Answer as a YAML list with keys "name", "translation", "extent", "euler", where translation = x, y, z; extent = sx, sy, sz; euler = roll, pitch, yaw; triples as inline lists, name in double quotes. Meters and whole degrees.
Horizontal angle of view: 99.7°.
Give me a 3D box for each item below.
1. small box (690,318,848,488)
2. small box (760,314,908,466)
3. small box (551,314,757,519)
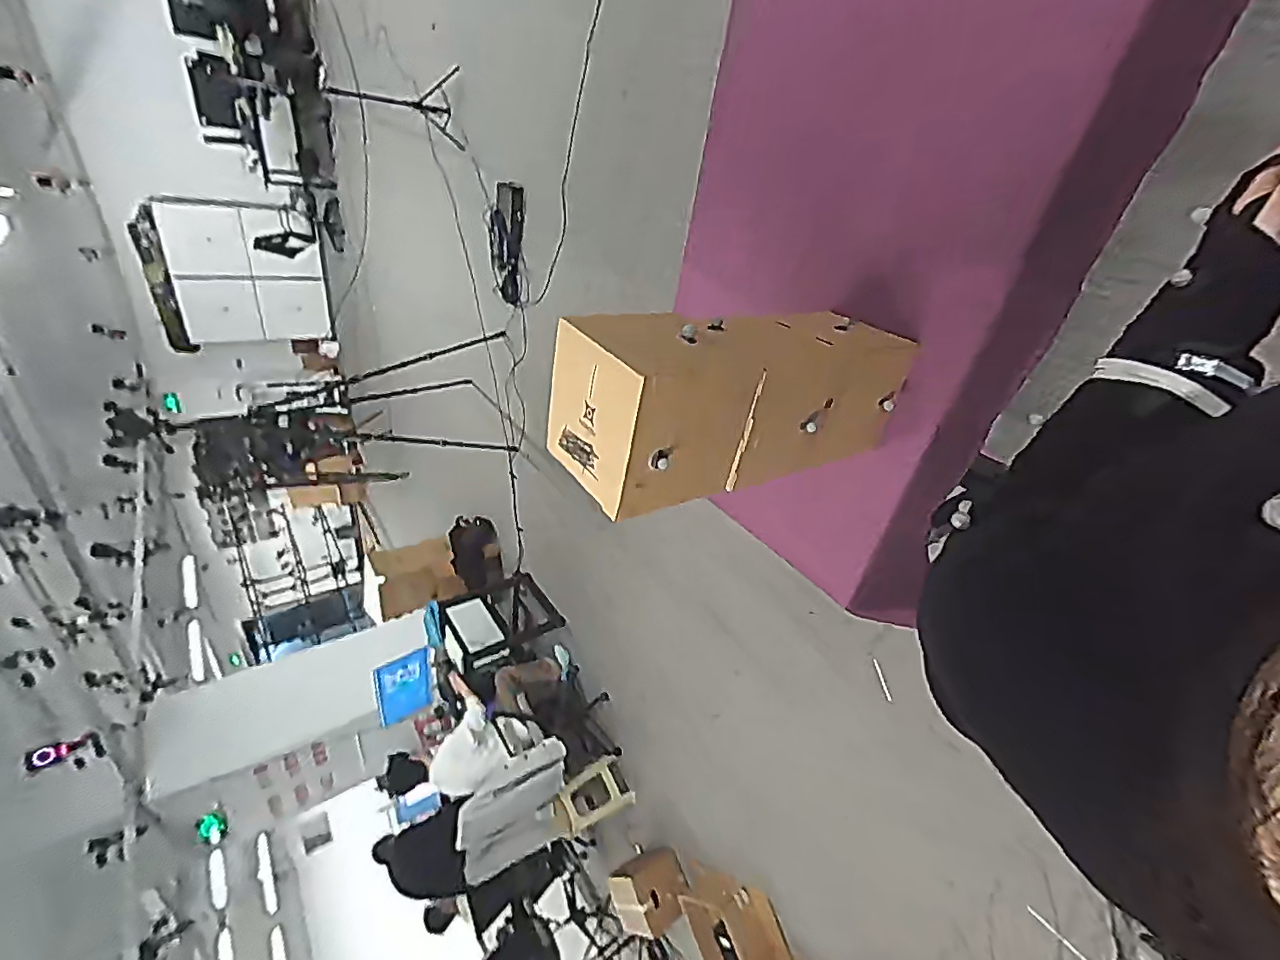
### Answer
- name: "small box"
  translation: [0.143, -0.115, 0.738]
  extent: [0.179, 0.176, 0.168]
  euler: [40, 133, 39]
- name: "small box"
  translation: [0.277, -0.147, 0.830]
  extent: [0.168, 0.176, 0.179]
  euler: [39, 131, 40]
- name: "small box"
  translation: [0.012, -0.084, 0.642]
  extent: [0.168, 0.176, 0.179]
  euler: [42, 133, 38]
